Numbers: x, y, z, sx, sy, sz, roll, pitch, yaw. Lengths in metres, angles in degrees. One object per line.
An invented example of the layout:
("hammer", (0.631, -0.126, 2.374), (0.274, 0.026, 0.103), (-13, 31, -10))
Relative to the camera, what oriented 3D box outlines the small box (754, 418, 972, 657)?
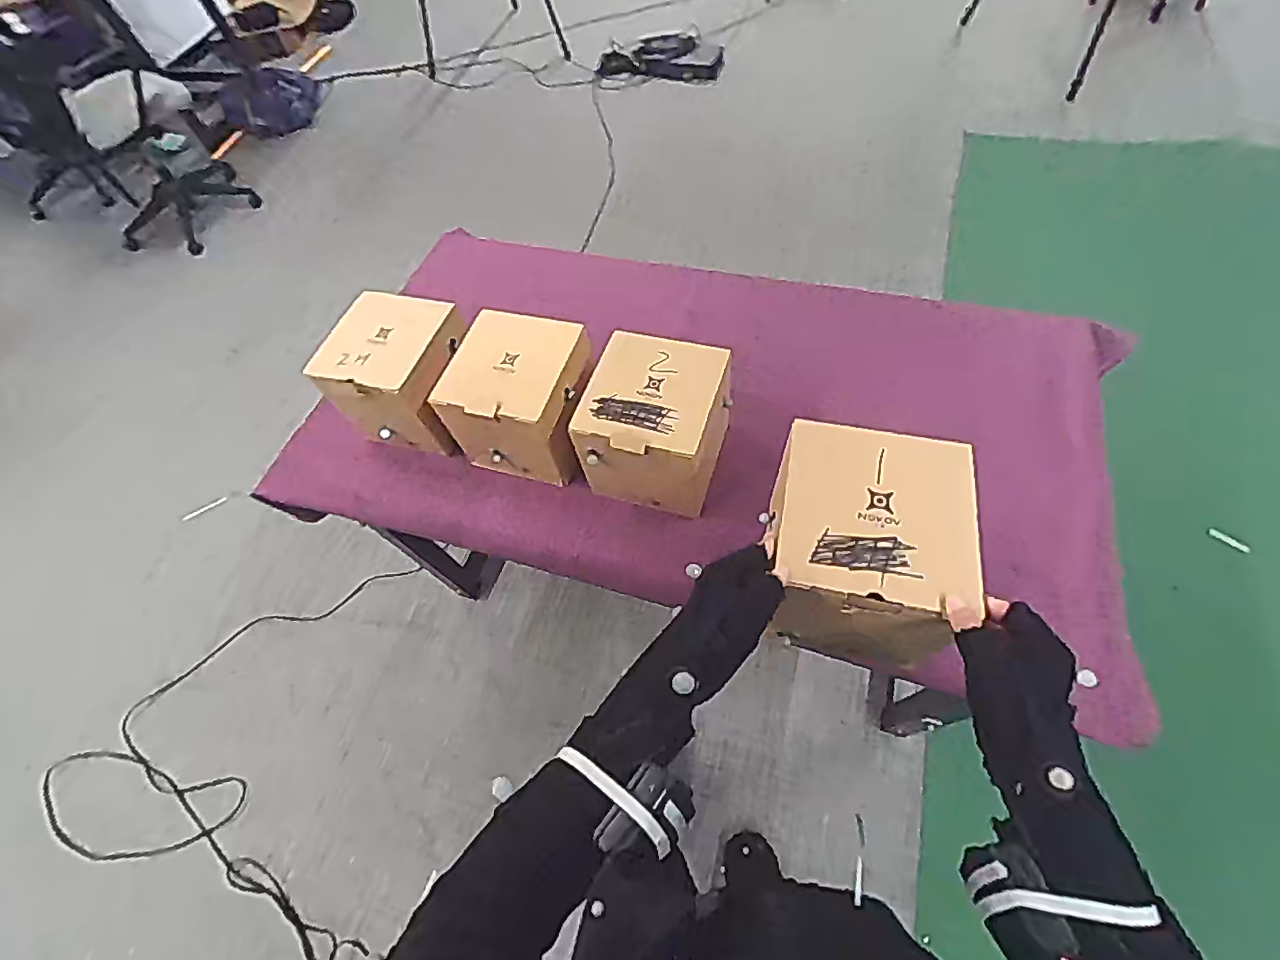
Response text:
("small box", (0.215, 0.065, 0.555), (0.168, 0.176, 0.179), (10, 59, 11))
